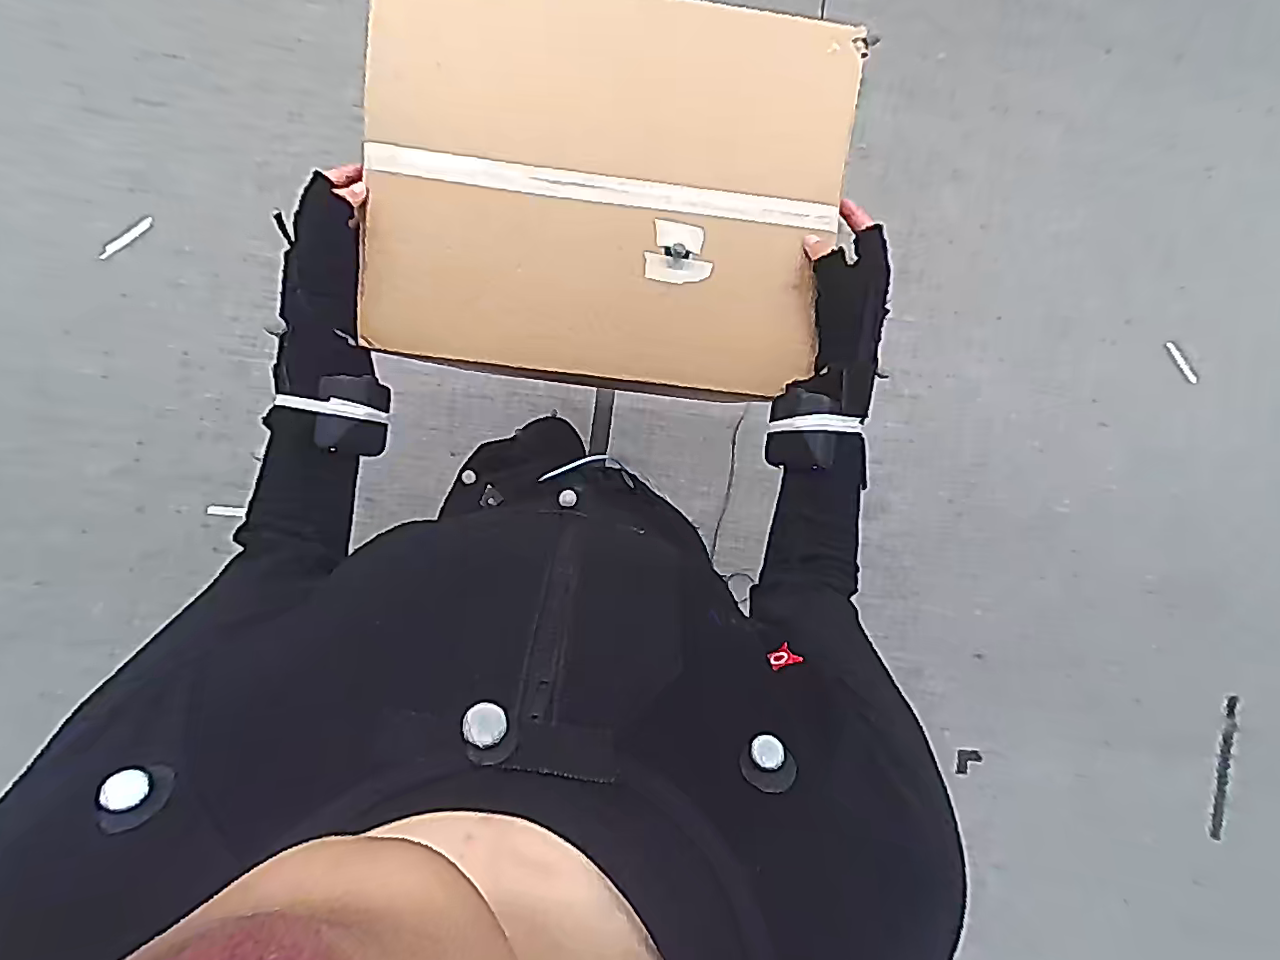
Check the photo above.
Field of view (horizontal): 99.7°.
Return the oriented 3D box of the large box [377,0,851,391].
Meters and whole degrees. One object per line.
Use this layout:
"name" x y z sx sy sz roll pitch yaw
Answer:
"large box" -0.035 -0.280 0.626 0.408 0.320 0.320 6 99 -4
